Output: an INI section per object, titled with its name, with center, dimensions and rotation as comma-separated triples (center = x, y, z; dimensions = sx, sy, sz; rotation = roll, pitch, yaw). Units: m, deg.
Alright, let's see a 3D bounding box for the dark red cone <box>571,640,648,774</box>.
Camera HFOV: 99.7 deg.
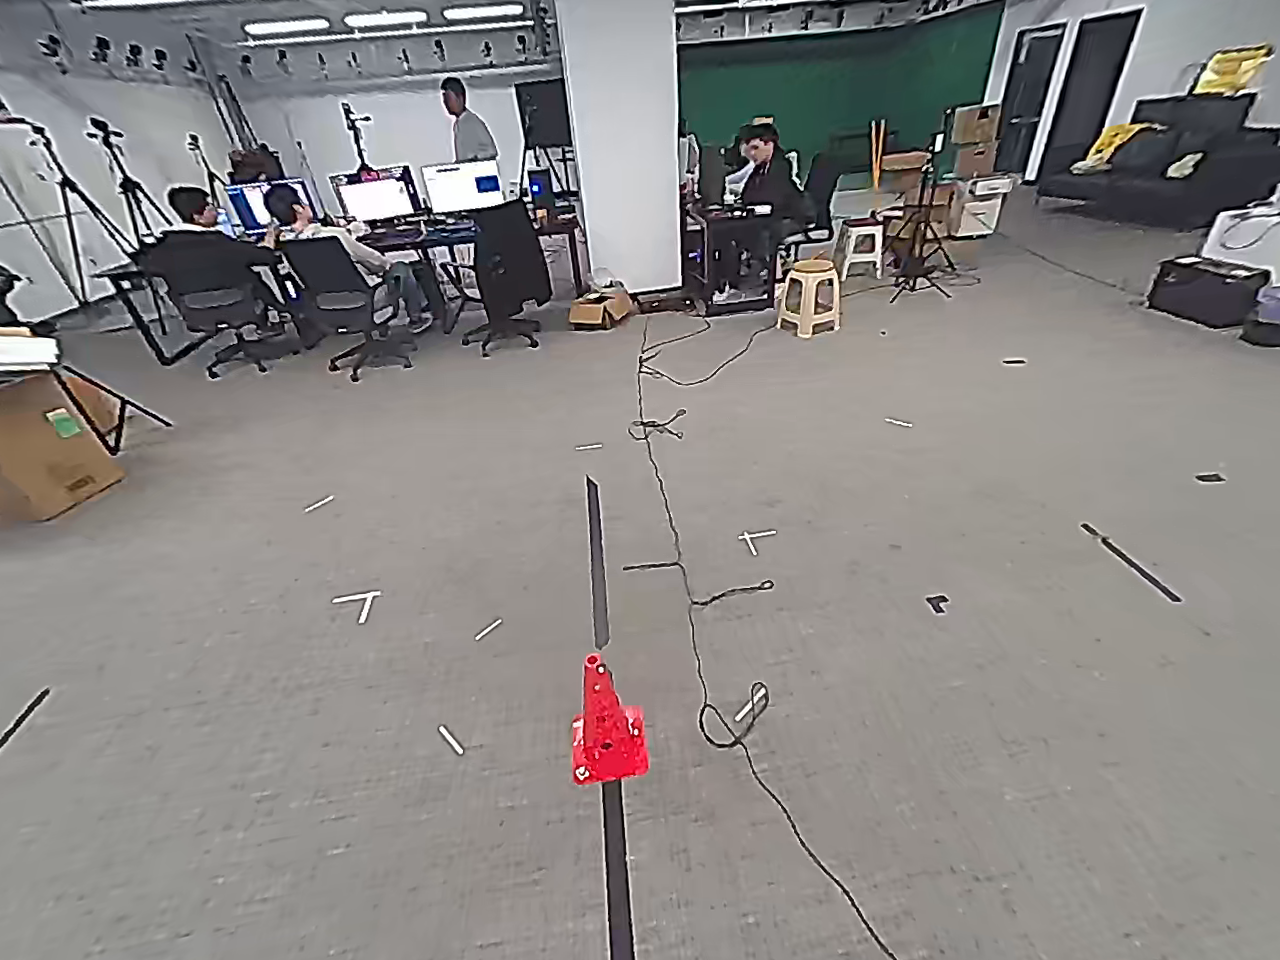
[dark red cone]
center = -0.096, 0.556, 1.375
dimensions = 0.201, 0.394, 0.202
rotation = -7, 33, -4
